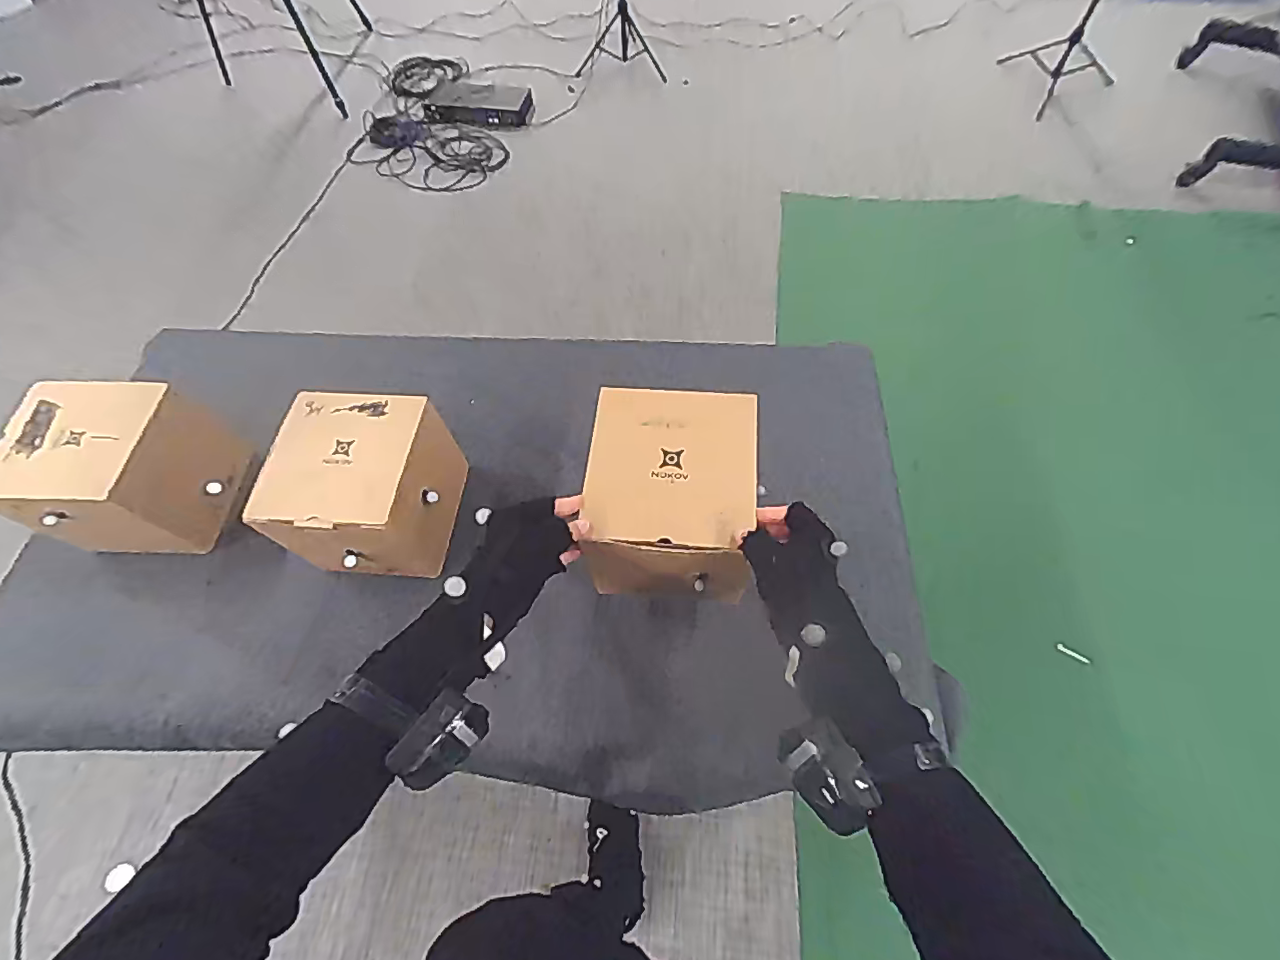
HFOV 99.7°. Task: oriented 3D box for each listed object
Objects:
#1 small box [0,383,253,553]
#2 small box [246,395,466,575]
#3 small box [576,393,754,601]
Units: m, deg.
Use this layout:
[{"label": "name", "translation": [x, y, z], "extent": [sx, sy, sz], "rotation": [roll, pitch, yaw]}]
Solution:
[{"label": "small box", "translation": [-0.669, -0.009, 0.709], "extent": [0.179, 0.176, 0.168], "rotation": [1, 62, 1]}, {"label": "small box", "translation": [-0.339, 0.013, 0.689], "extent": [0.168, 0.176, 0.179], "rotation": [3, 62, 3]}, {"label": "small box", "translation": [0.034, 0.026, 0.599], "extent": [0.168, 0.176, 0.179], "rotation": [3, 61, 5]}]
